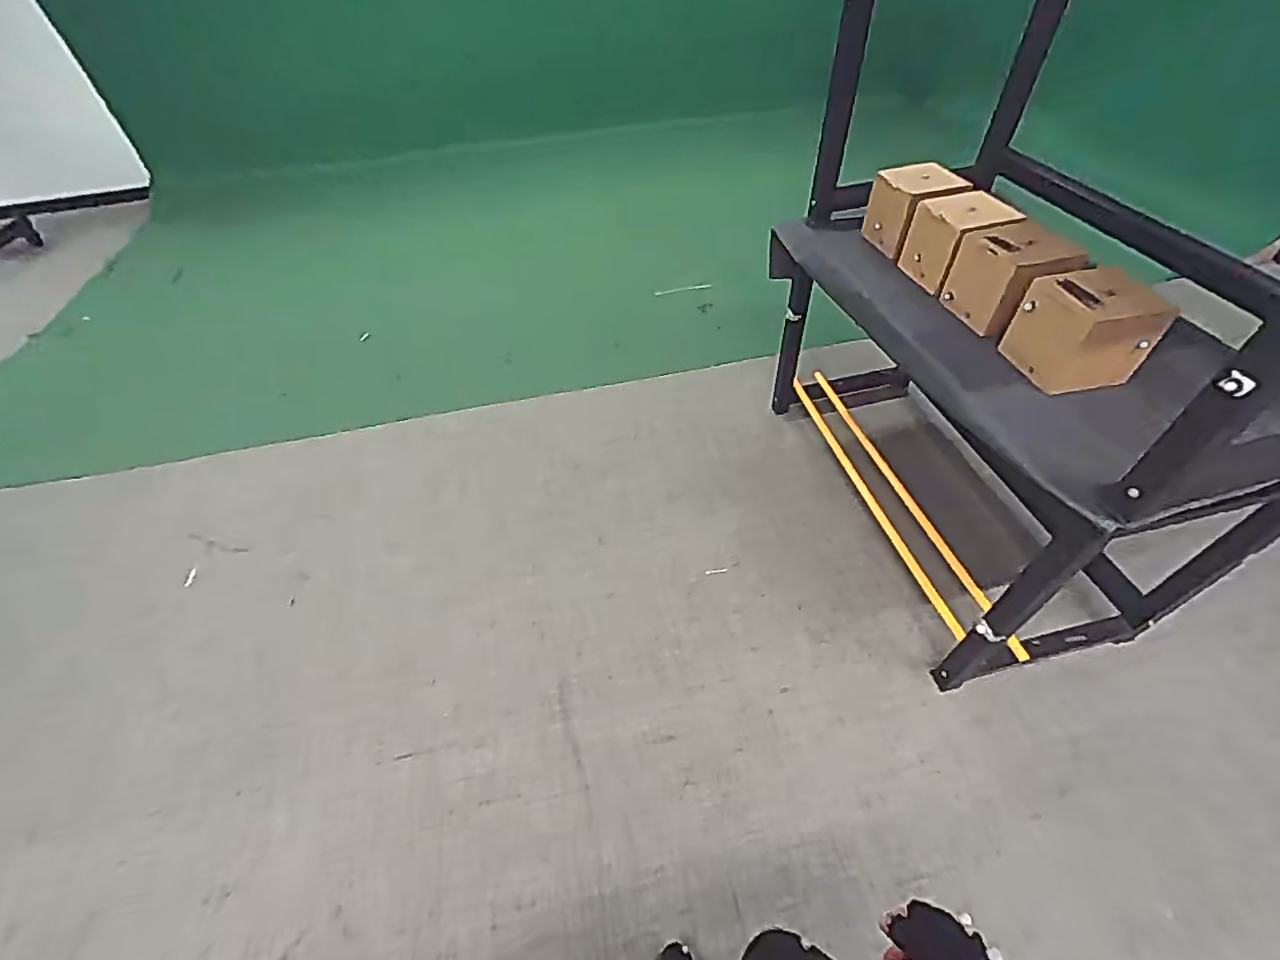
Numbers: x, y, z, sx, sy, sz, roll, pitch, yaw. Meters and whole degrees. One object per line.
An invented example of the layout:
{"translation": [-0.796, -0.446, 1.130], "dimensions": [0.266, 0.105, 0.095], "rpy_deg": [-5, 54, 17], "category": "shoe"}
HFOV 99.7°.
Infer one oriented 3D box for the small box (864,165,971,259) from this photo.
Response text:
{"translation": [0.741, -0.725, 1.466], "dimensions": [0.179, 0.176, 0.168], "rpy_deg": [-13, 49, -7], "category": "small box"}
